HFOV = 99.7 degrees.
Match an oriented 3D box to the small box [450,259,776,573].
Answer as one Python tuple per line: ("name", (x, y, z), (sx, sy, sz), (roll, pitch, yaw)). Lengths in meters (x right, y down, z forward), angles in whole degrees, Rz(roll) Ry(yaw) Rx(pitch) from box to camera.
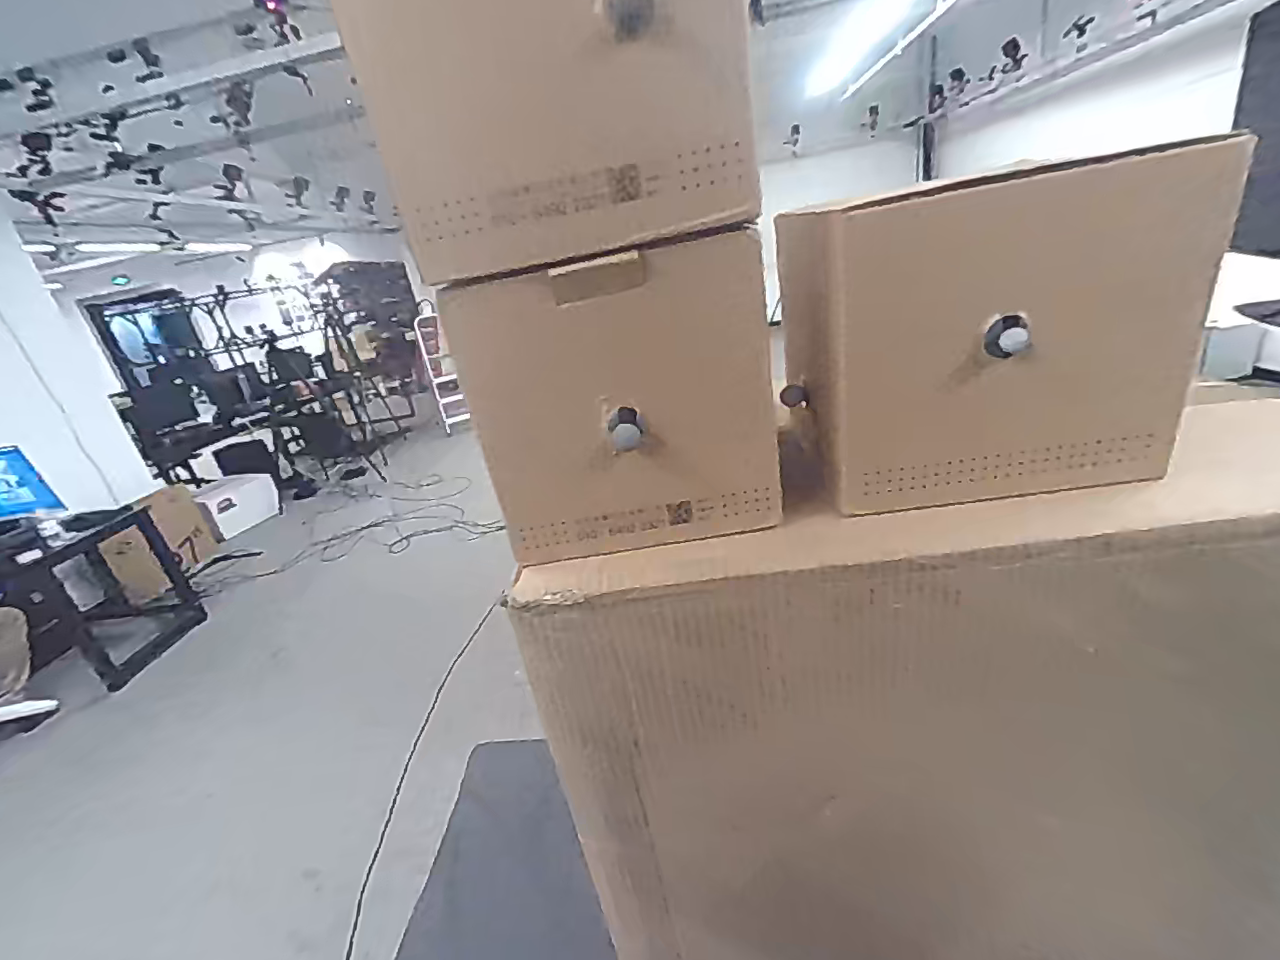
("small box", (-0.008, -0.048, 0.388), (0.168, 0.176, 0.179), (-11, 24, 3))

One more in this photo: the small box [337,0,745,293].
("small box", (-0.040, -0.209, 0.310), (0.168, 0.176, 0.179), (-8, 23, 4))
